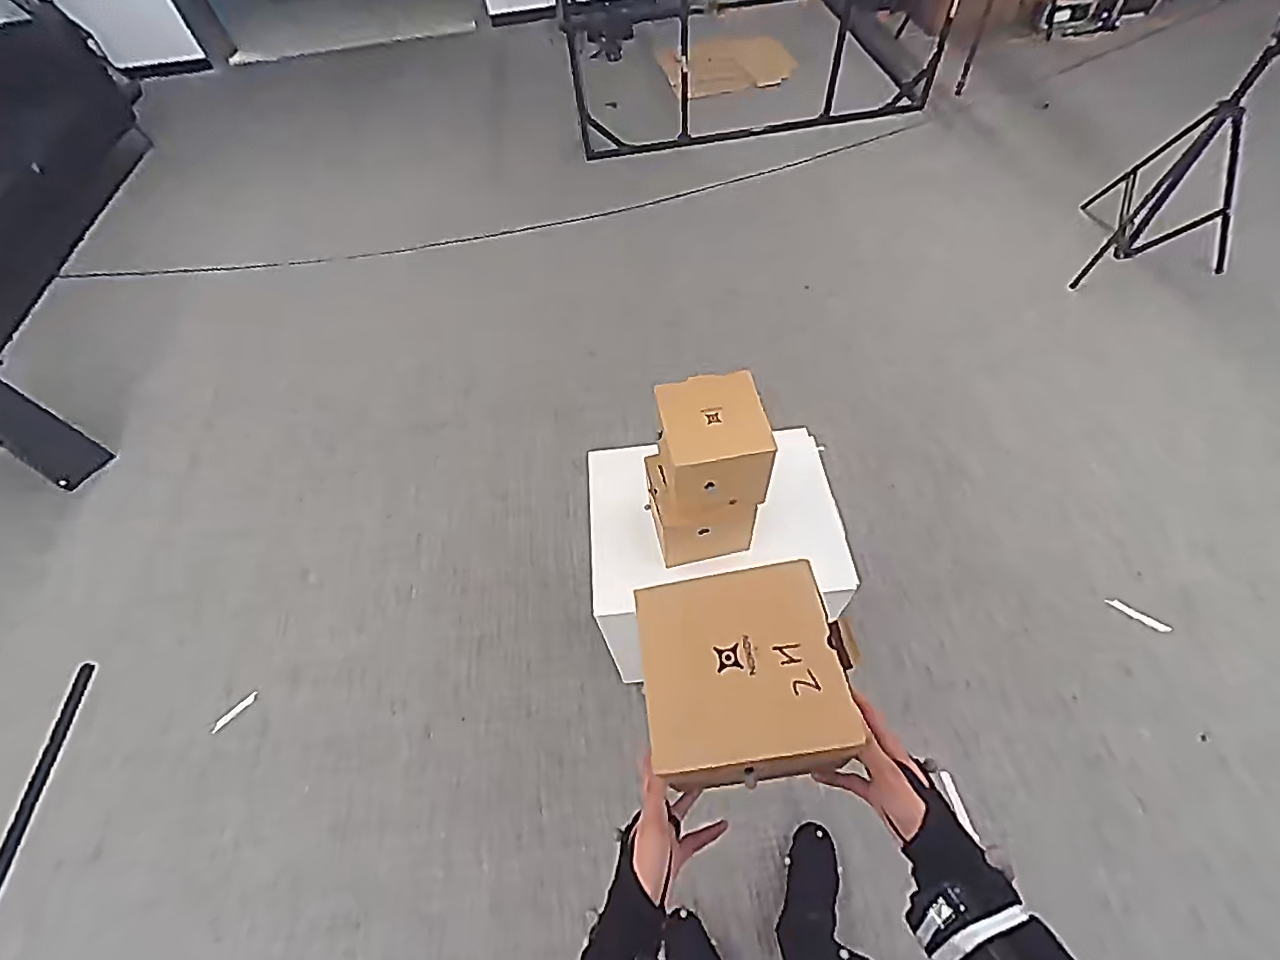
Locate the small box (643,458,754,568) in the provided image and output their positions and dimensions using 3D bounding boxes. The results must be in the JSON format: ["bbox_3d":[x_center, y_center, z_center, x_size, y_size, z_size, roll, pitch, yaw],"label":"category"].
[{"bbox_3d":[0.111,0.056,1.065,0.179,0.176,0.168,-12,56,-4],"label":"small box"}]

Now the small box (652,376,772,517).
[{"bbox_3d":[0.120,-0.049,0.939,0.168,0.176,0.179,-10,55,-2],"label":"small box"}]

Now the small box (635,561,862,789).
[{"bbox_3d":[0.102,0.205,0.549,0.179,0.176,0.168,-11,55,4],"label":"small box"}]
